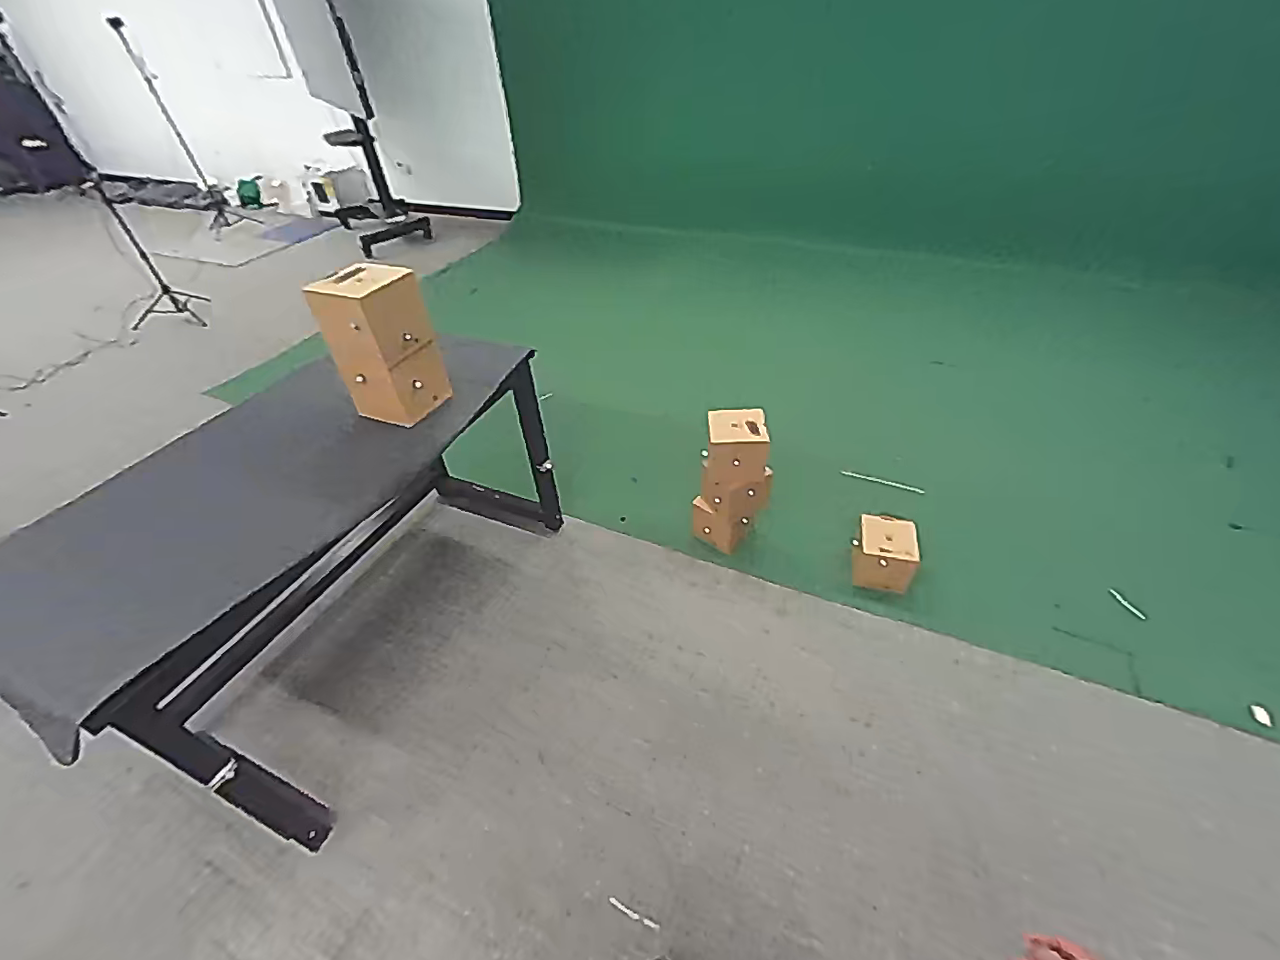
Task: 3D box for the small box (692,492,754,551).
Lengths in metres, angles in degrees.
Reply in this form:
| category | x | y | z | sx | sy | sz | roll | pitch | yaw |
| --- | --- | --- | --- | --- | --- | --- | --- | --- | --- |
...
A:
| category | x | y | z | sx | sy | sz | roll | pitch | yaw |
| --- | --- | --- | --- | --- | --- | --- | --- | --- | --- |
| small box | 0.303 | 0.123 | 1.942 | 0.168 | 0.176 | 0.179 | 29 | 51 | 31 |

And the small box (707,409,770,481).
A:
| category | x | y | z | sx | sy | sz | roll | pitch | yaw |
| --- | --- | --- | --- | --- | --- | --- | --- | --- | --- |
| small box | 0.306 | -0.109 | 1.711 | 0.179 | 0.176 | 0.168 | -1 | 43 | 4 |

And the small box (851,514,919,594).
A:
| category | x | y | z | sx | sy | sz | roll | pitch | yaw |
| --- | --- | --- | --- | --- | --- | --- | --- | --- | --- |
| small box | 0.798 | 0.243 | 1.778 | 0.168 | 0.176 | 0.179 | 9 | 43 | 13 |

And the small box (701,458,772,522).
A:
| category | x | y | z | sx | sy | sz | roll | pitch | yaw |
| --- | --- | --- | --- | --- | --- | --- | --- | --- | --- |
| small box | 0.321 | 0.015 | 1.819 | 0.179 | 0.176 | 0.168 | -21 | 46 | -19 |

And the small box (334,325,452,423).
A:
| category | x | y | z | sx | sy | sz | roll | pitch | yaw |
| --- | --- | --- | --- | --- | --- | --- | --- | --- | --- |
| small box | -0.601 | -0.261 | 1.341 | 0.179 | 0.176 | 0.168 | 14 | 45 | 21 |
